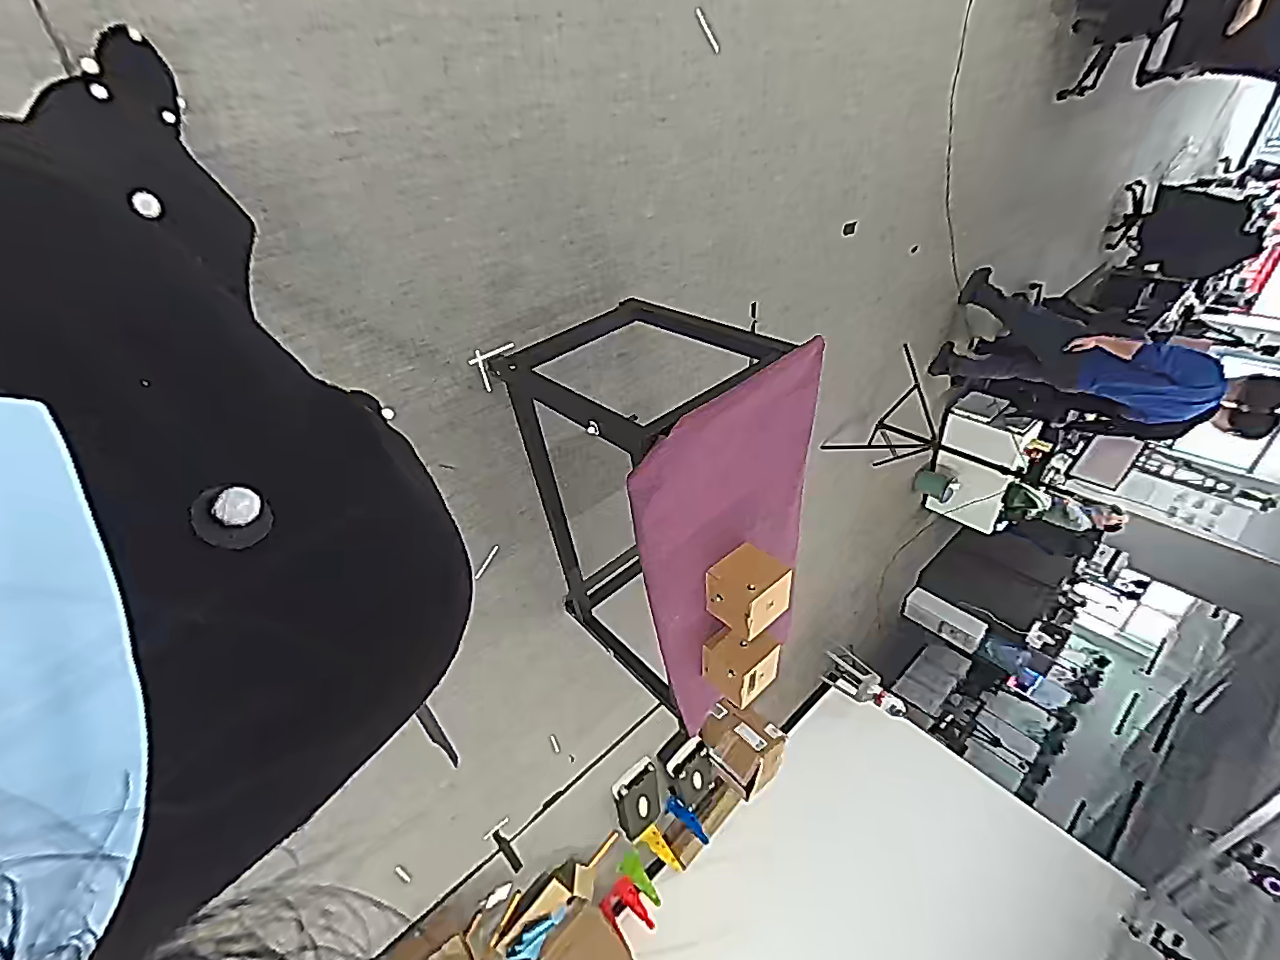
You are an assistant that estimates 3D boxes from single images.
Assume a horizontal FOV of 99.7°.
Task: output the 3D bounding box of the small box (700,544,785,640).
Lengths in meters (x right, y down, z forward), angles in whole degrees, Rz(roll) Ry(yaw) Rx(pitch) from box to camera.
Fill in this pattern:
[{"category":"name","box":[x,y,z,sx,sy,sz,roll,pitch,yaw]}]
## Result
[{"category":"small box","box":[0.293,0.316,1.561,0.179,0.176,0.168,-30,132,-29]}]
